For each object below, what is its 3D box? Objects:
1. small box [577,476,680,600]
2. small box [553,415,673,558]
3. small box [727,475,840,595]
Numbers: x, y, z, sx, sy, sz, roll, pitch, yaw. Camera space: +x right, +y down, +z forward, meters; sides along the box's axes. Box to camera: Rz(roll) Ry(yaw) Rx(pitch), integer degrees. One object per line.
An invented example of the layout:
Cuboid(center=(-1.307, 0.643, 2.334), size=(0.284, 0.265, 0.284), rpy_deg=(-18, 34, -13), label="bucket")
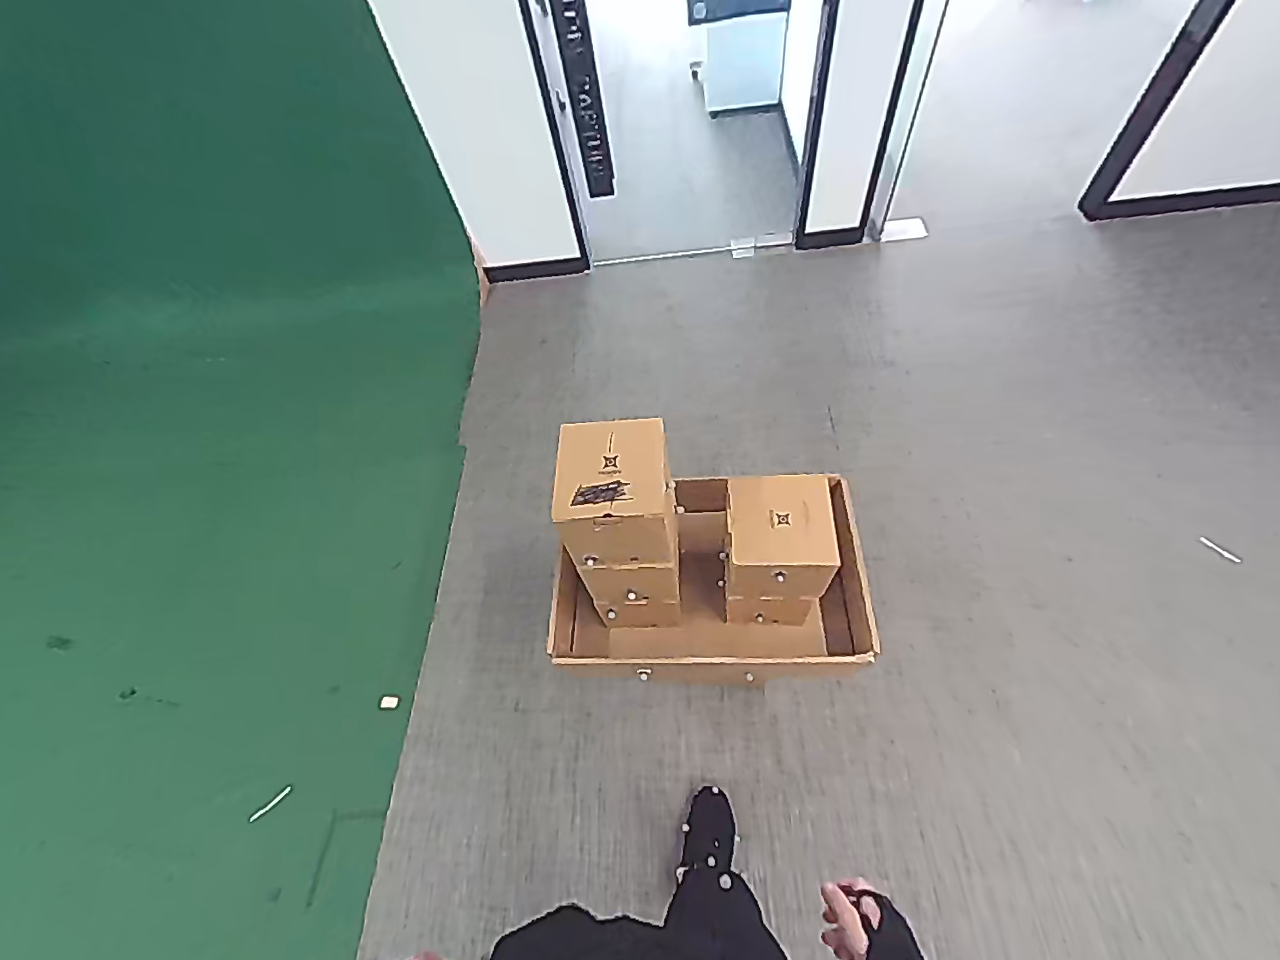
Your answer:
Cuboid(center=(-0.013, 0.109, 1.002), size=(0.168, 0.176, 0.179), rpy_deg=(-2, 59, 6), label="small box")
Cuboid(center=(-0.034, 0.018, 0.867), size=(0.168, 0.176, 0.179), rpy_deg=(-3, 58, 5), label="small box")
Cuboid(center=(0.247, 0.104, 0.977), size=(0.179, 0.176, 0.168), rpy_deg=(0, 60, 6), label="small box")
